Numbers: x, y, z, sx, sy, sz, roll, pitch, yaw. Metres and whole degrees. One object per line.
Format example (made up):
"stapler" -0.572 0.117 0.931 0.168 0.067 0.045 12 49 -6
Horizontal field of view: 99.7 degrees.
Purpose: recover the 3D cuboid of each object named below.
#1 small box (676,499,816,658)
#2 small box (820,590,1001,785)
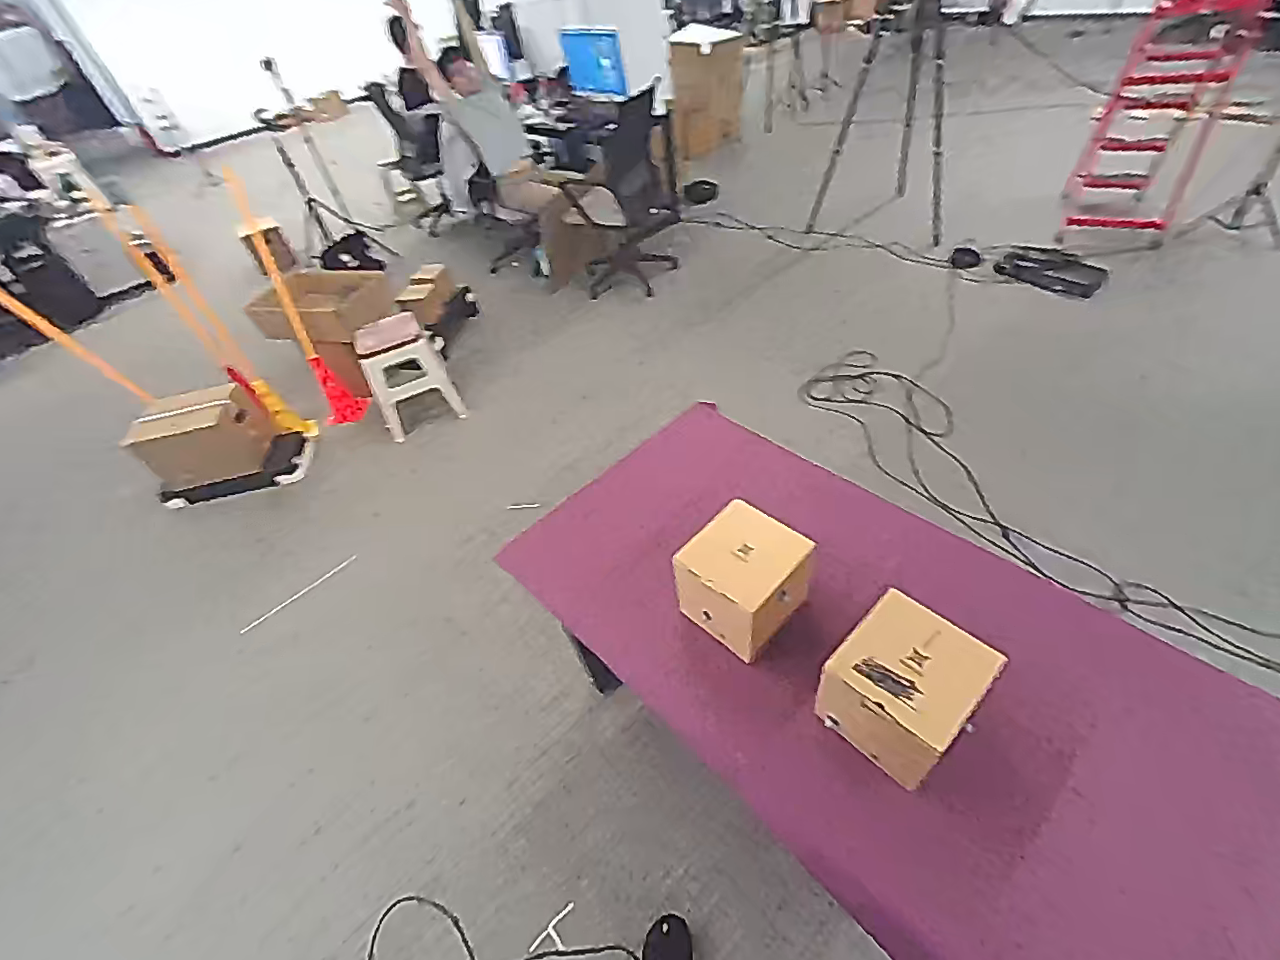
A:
"small box" 0.184 0.174 0.956 0.179 0.176 0.168 -40 52 -24
"small box" 0.382 0.304 0.790 0.179 0.176 0.168 -39 50 -23
